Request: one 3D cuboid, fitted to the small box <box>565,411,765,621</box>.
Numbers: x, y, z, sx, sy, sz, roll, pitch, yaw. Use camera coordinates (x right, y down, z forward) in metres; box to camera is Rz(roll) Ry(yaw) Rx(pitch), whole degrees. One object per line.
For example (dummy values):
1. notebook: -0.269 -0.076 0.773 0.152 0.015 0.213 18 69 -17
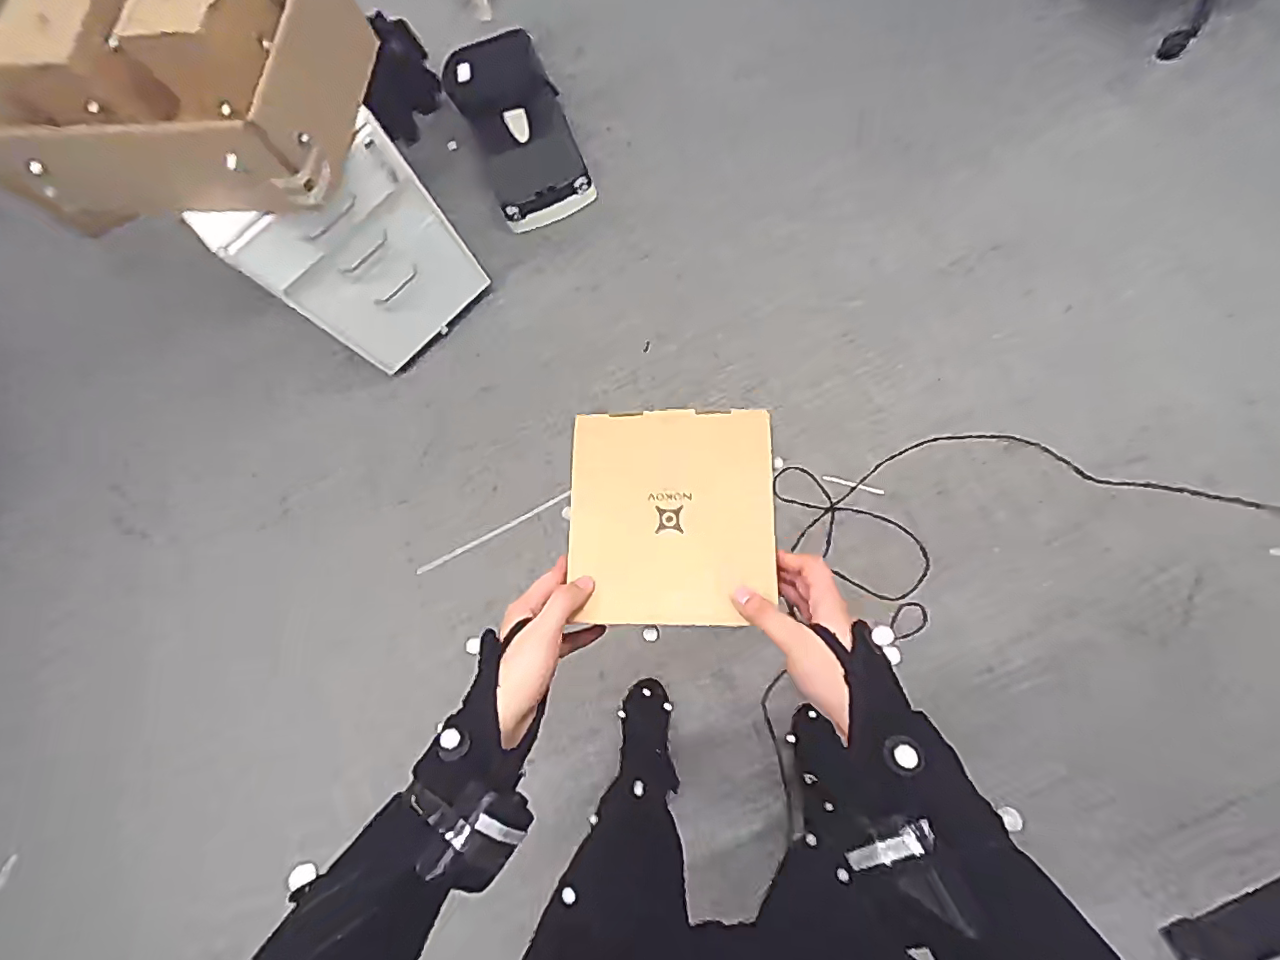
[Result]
1. small box: 0.032 0.045 0.527 0.168 0.176 0.179 -1 75 7
